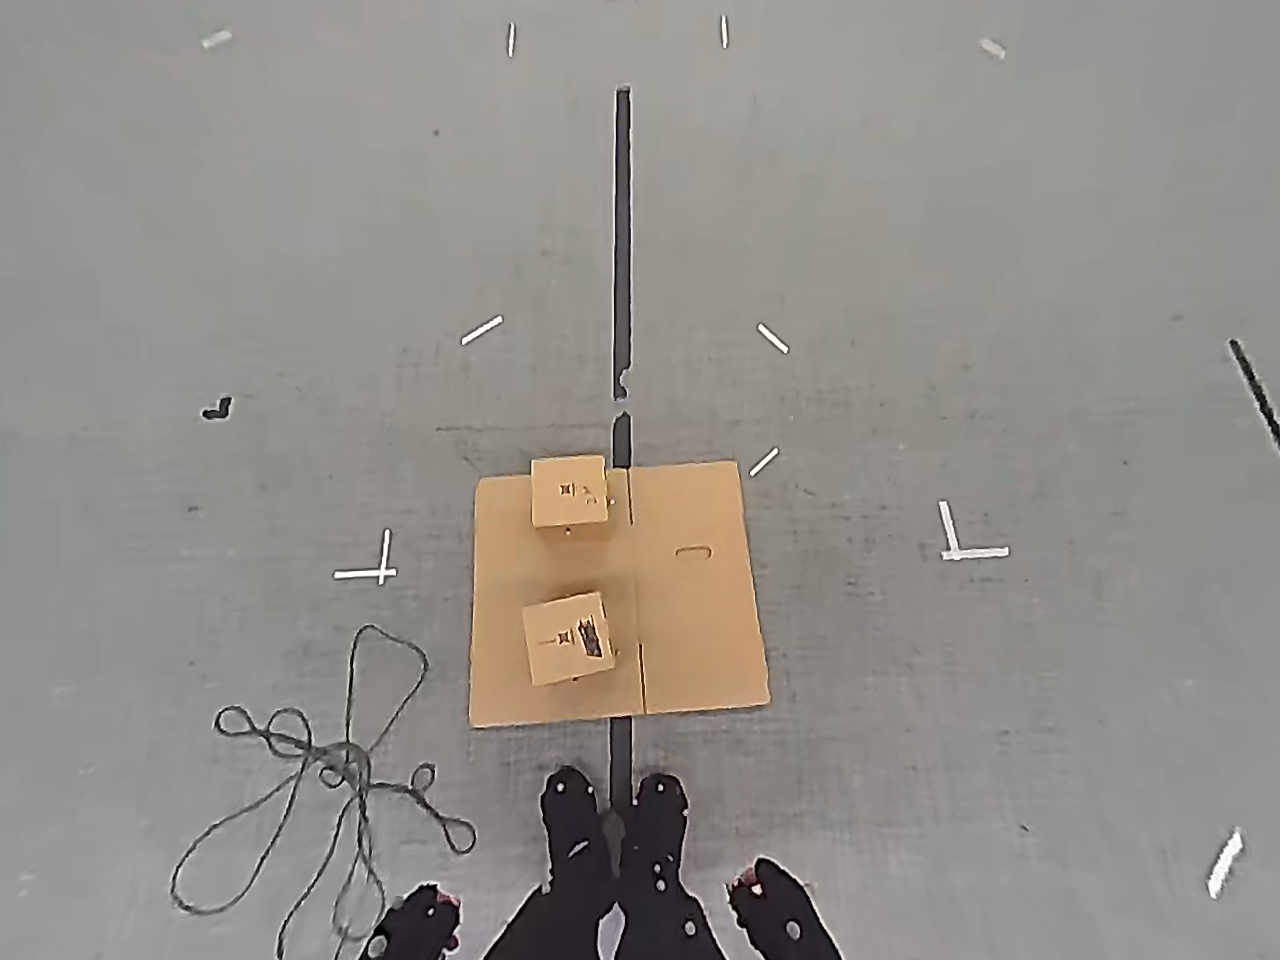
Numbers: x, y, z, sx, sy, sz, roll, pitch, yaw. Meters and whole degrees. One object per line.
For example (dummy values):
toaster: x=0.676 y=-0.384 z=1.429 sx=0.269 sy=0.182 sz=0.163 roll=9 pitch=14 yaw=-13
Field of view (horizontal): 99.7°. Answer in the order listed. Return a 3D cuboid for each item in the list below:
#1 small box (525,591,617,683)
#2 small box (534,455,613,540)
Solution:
small box: x=-0.151 y=0.357 z=1.229 sx=0.179 sy=0.176 sz=0.168 roll=-11 pitch=71 yaw=-4
small box: x=-0.160 y=0.048 z=1.337 sx=0.179 sy=0.176 sz=0.168 roll=-3 pitch=71 yaw=-2
